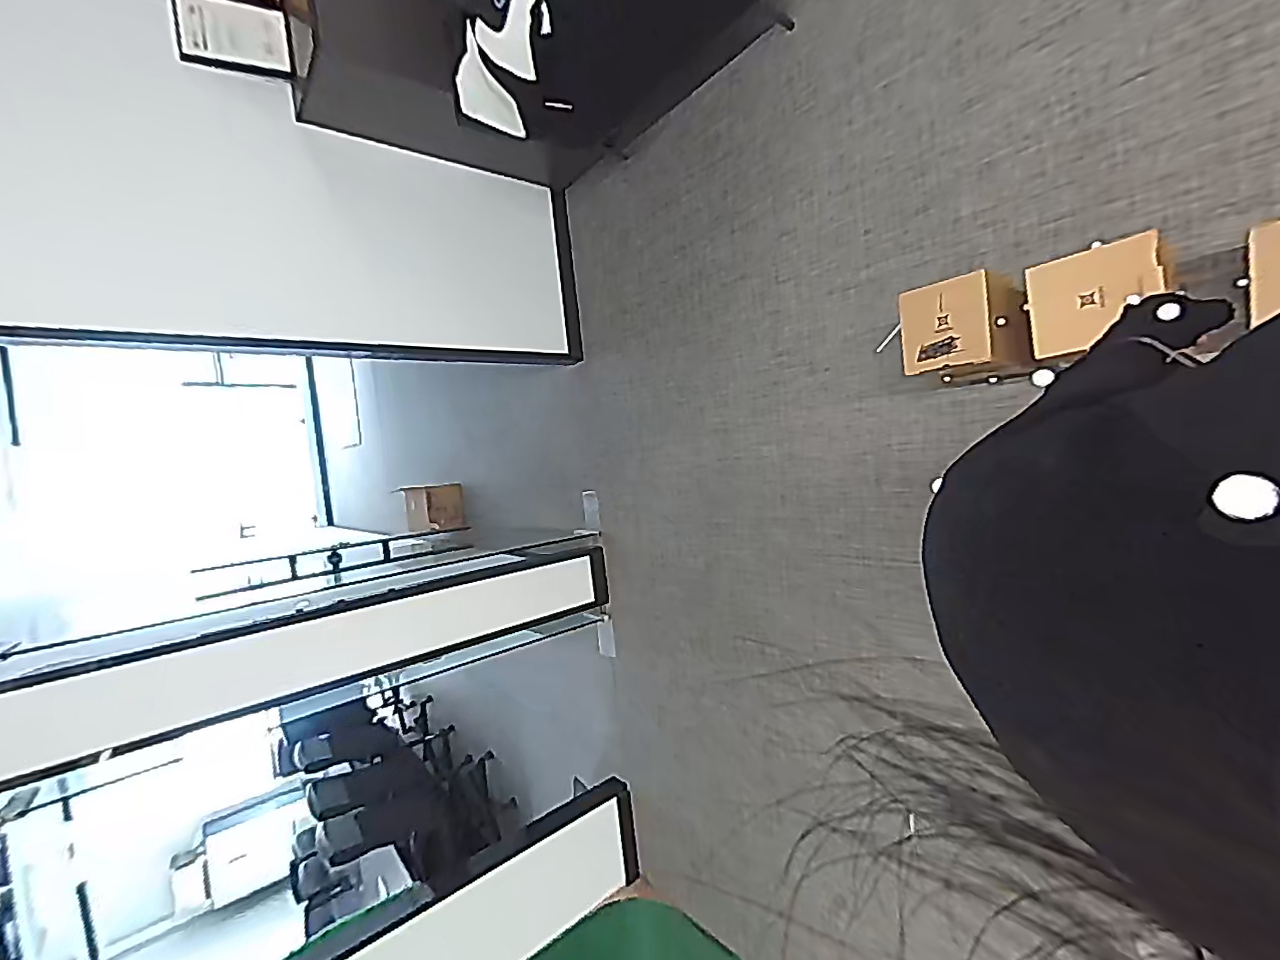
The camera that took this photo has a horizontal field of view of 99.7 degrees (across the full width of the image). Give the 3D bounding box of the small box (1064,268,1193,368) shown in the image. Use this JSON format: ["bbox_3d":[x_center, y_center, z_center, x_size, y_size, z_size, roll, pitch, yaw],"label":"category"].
[{"bbox_3d":[0.951,-0.324,1.059,0.168,0.176,0.179,-5,91,53],"label":"small box"}]

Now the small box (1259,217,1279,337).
[{"bbox_3d":[1.114,-0.336,0.862,0.168,0.176,0.179,-1,96,51],"label":"small box"}]

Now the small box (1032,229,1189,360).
[{"bbox_3d":[0.829,-0.312,0.954,0.179,0.176,0.168,-7,91,51],"label":"small box"}]
